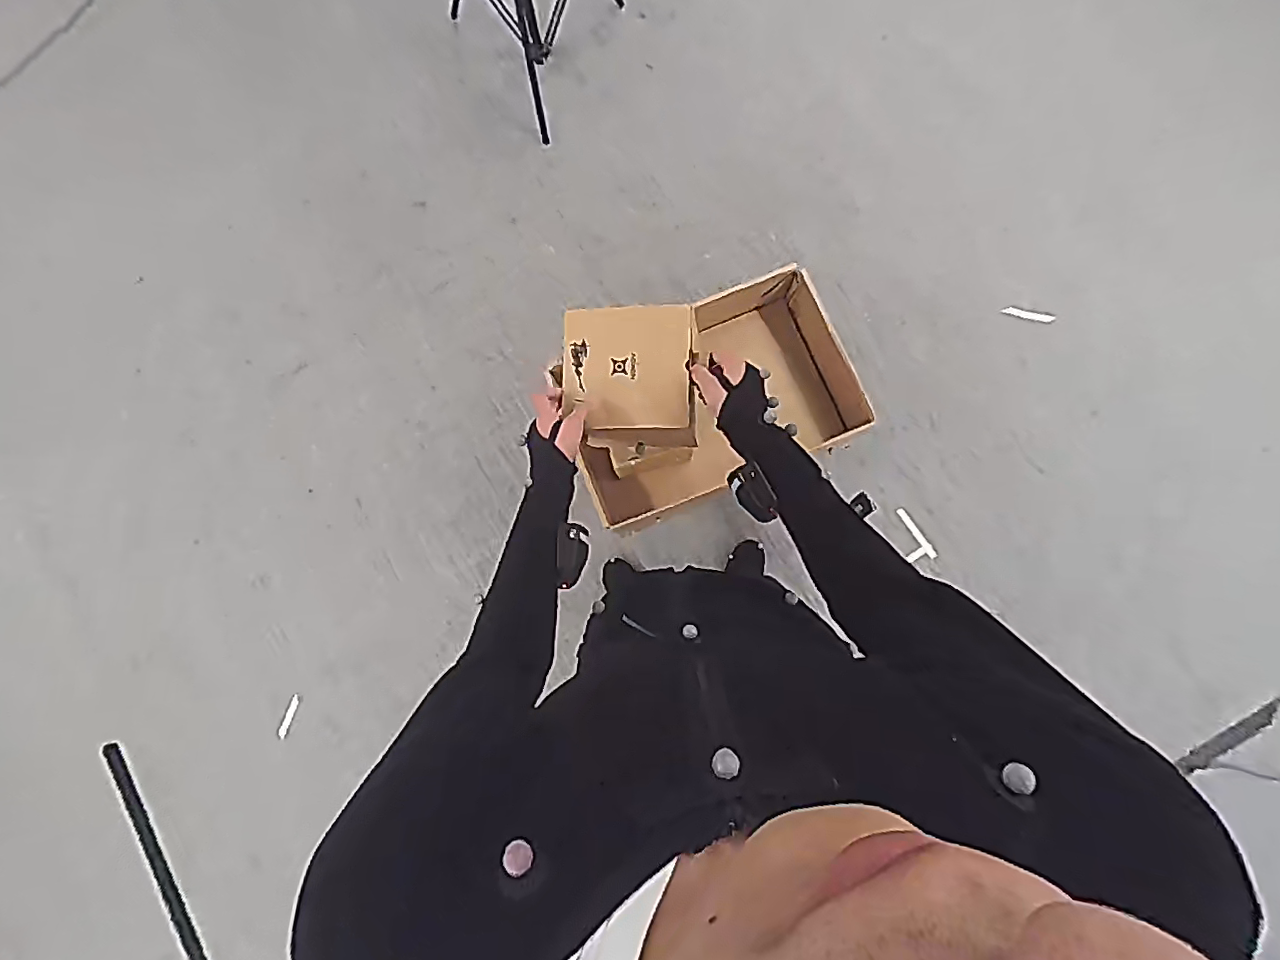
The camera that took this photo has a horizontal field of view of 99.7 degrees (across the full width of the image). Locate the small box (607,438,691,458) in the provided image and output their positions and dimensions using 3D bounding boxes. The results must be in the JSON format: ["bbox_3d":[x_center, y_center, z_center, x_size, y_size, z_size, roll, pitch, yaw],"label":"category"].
[{"bbox_3d":[0.005,-0.149,1.039,0.168,0.176,0.179,-15,81,0],"label":"small box"}]

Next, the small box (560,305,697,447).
[{"bbox_3d":[-0.008,-0.143,0.788,0.179,0.176,0.168,0,85,10],"label":"small box"}]
